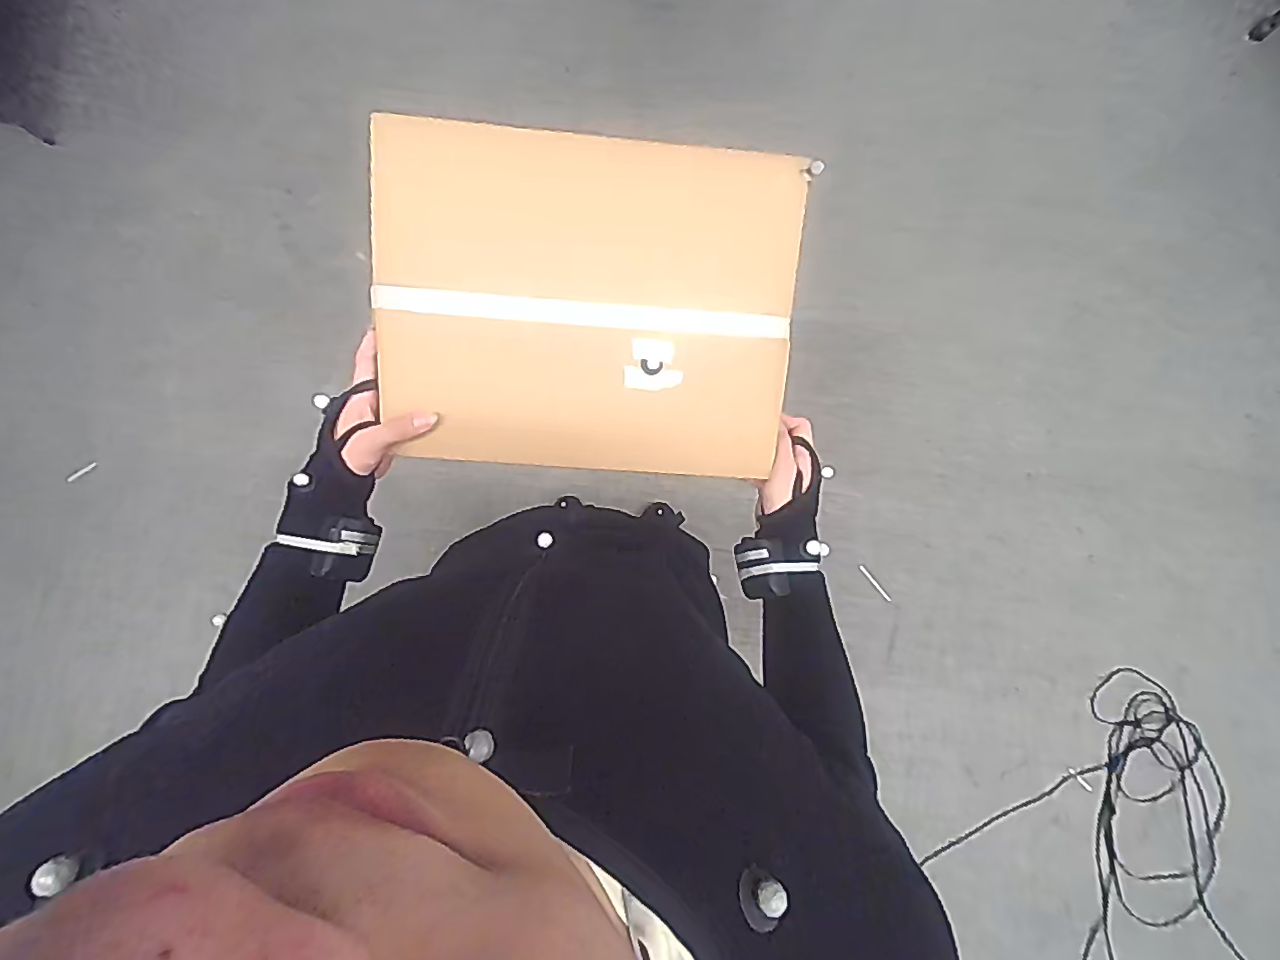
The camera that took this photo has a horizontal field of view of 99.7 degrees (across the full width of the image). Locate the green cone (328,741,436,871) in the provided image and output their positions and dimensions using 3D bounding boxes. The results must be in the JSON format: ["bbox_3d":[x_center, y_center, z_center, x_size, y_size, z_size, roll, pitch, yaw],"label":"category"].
[{"bbox_3d":[-0.715,0.886,1.434,0.200,0.368,0.202,12,90,-1],"label":"green cone"}]

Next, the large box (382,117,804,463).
[{"bbox_3d":[-0.057,-0.206,0.682,0.408,0.320,0.320,3,103,-4],"label":"large box"}]
